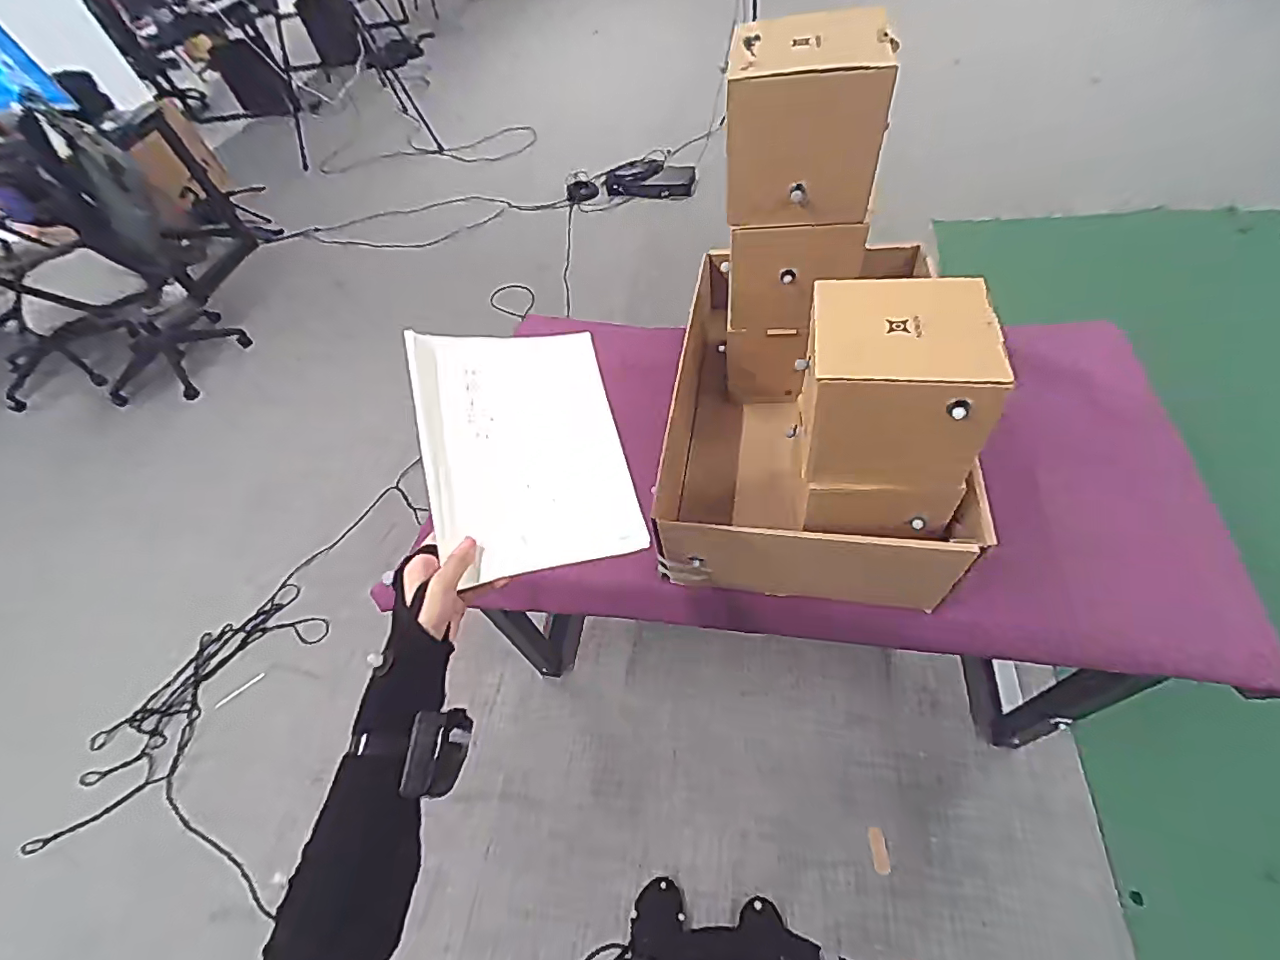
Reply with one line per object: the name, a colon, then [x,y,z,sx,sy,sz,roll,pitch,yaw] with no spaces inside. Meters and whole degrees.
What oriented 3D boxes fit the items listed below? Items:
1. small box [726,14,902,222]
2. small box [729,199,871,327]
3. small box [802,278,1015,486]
small box: [0.203,-0.440,0.672,0.179,0.176,0.168,4,55,11]
small box: [0.226,-0.343,0.802,0.179,0.176,0.168,2,55,10]
small box: [0.281,-0.108,0.614,0.179,0.176,0.168,4,53,12]
